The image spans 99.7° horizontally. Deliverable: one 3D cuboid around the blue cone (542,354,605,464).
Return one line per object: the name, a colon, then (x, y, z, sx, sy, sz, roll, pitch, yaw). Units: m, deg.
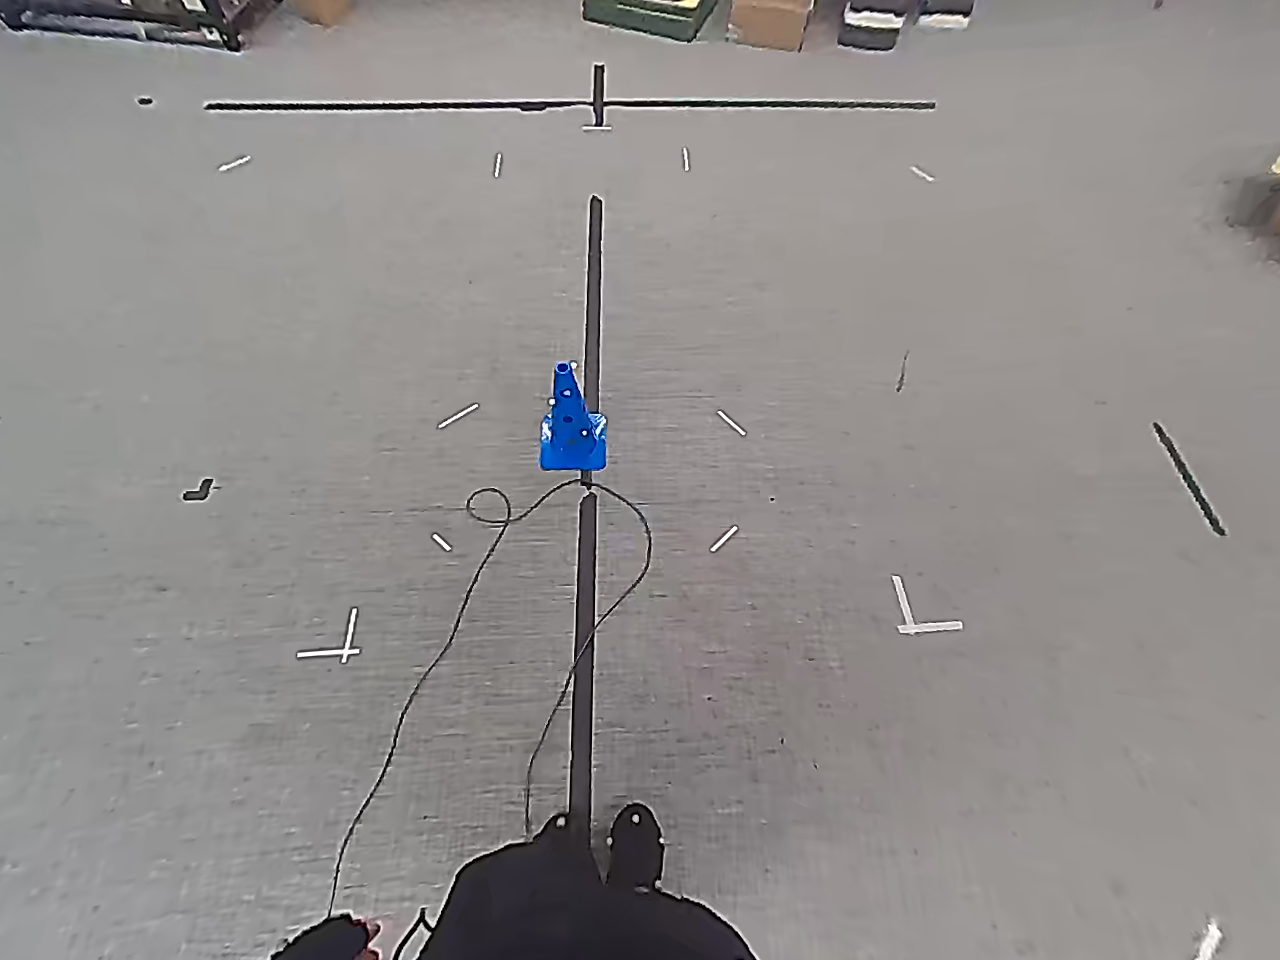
blue cone: (-0.200, -0.205, 1.493, 0.193, 0.380, 0.192, -2, 63, -2)
